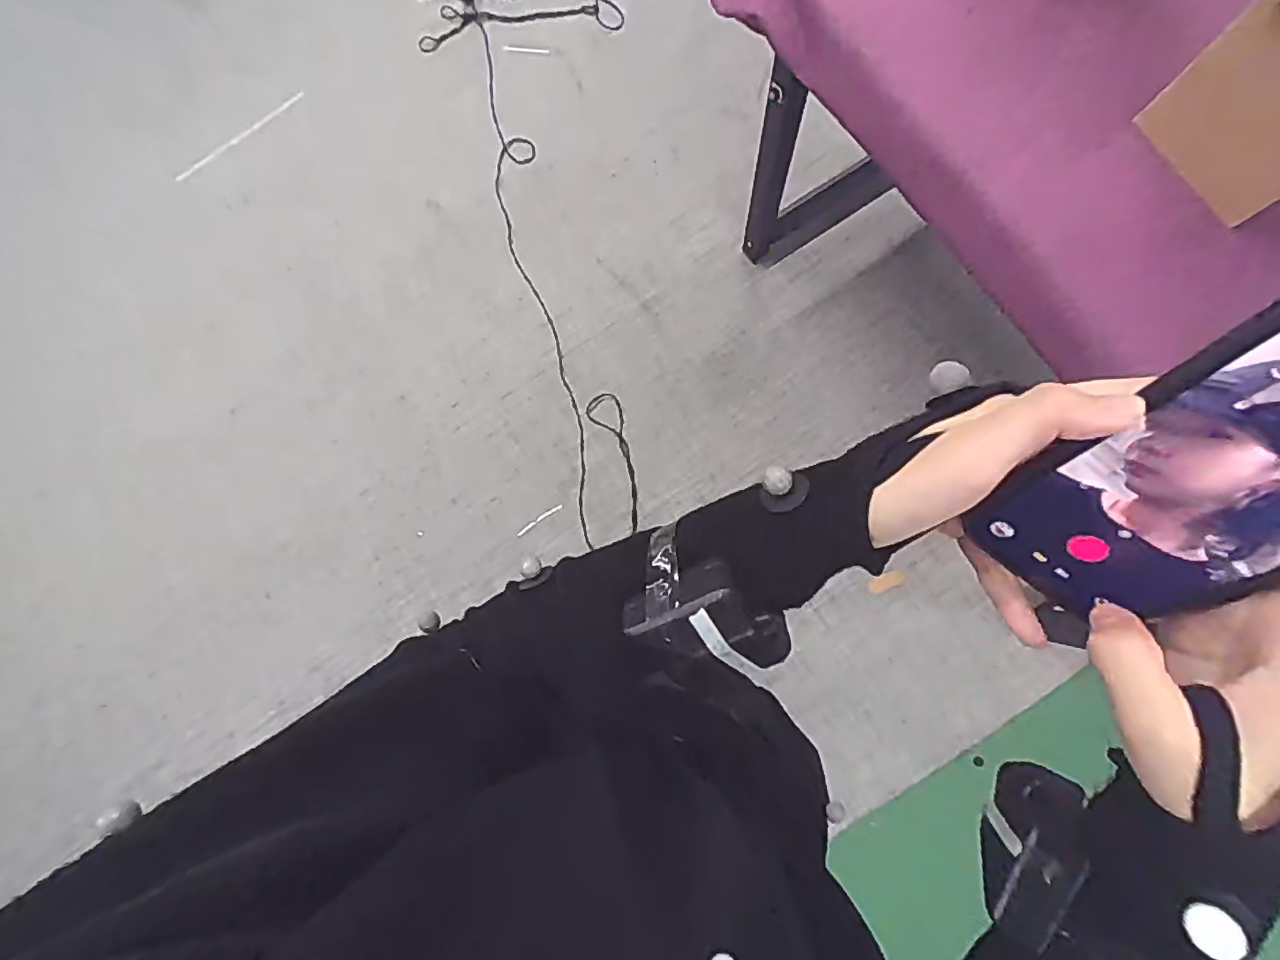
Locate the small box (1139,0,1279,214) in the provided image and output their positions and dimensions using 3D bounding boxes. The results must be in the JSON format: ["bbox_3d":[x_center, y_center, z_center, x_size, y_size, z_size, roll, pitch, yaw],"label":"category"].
[{"bbox_3d":[0.705,-0.415,0.566,0.168,0.176,0.179,-31,80,0],"label":"small box"}]
